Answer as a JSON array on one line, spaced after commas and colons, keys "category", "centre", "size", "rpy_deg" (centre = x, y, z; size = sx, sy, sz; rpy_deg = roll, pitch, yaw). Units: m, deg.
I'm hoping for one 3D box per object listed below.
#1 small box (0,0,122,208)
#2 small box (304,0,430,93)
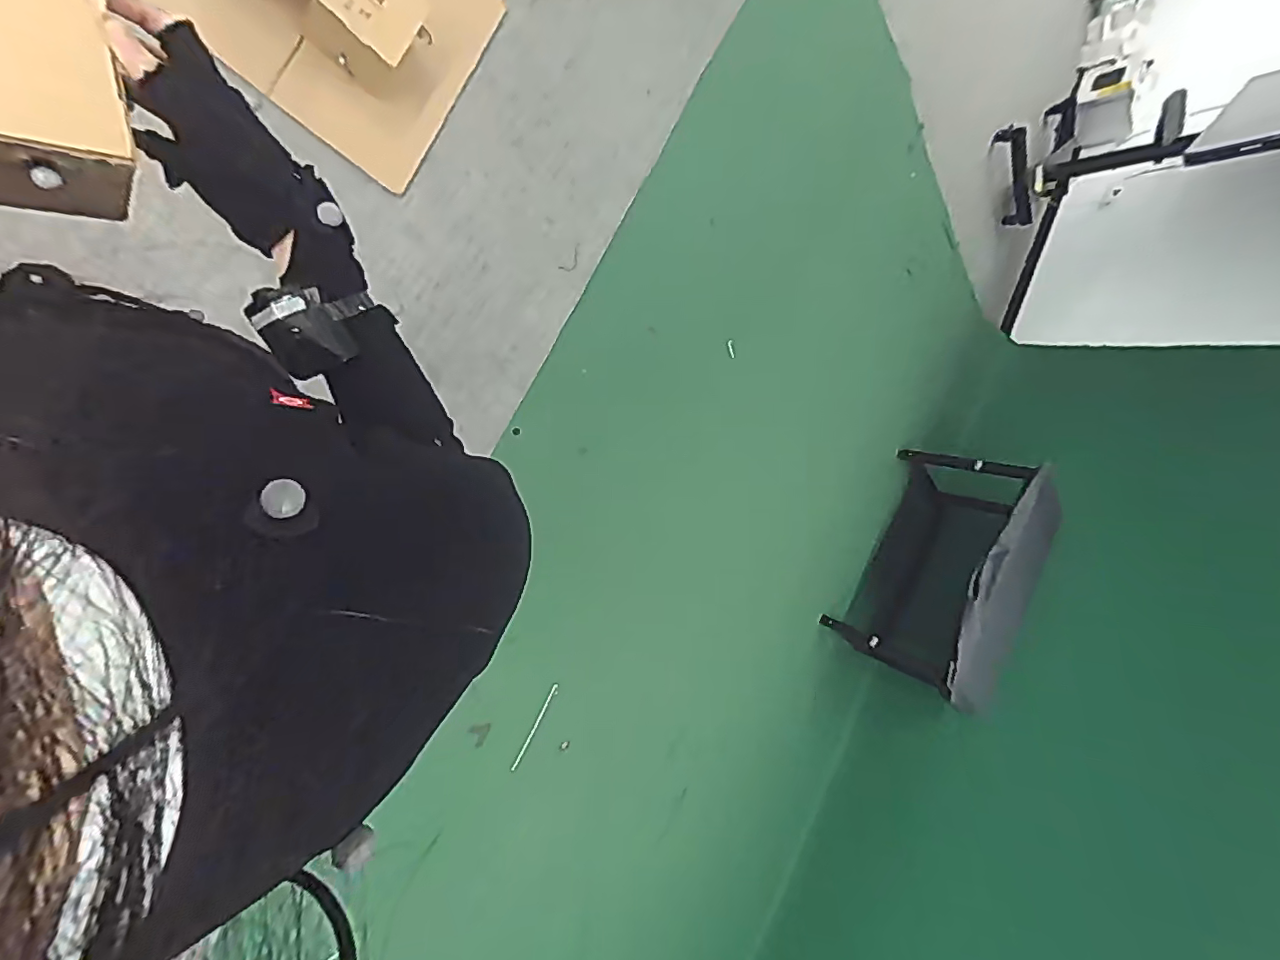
[{"category": "small box", "centre": [-0.415, -0.263, 0.291], "size": [0.179, 0.176, 0.168], "rpy_deg": [-13, 107, -44]}, {"category": "small box", "centre": [-0.584, -0.981, 1.148], "size": [0.168, 0.176, 0.179], "rpy_deg": [30, 81, -39]}]
